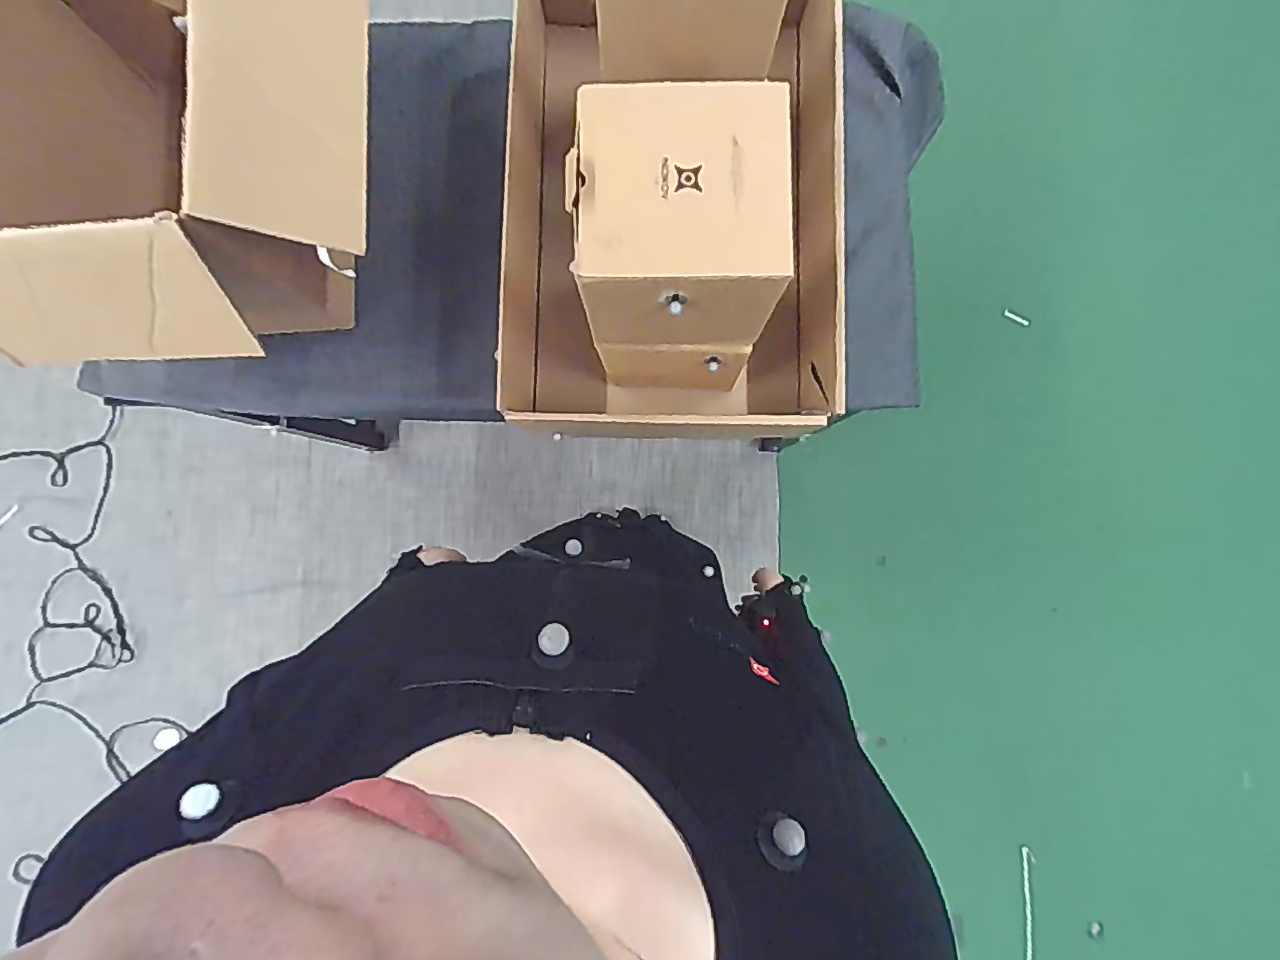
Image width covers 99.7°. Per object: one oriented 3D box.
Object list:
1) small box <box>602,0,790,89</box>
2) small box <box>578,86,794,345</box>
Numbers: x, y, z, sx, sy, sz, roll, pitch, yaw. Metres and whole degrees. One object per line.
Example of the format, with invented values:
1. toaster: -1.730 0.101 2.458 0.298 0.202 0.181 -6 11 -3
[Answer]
1. small box: 0.050 -0.487 0.532 0.168 0.176 0.179 2 88 1
2. small box: 0.039 -0.234 0.518 0.179 0.176 0.168 0 86 0
